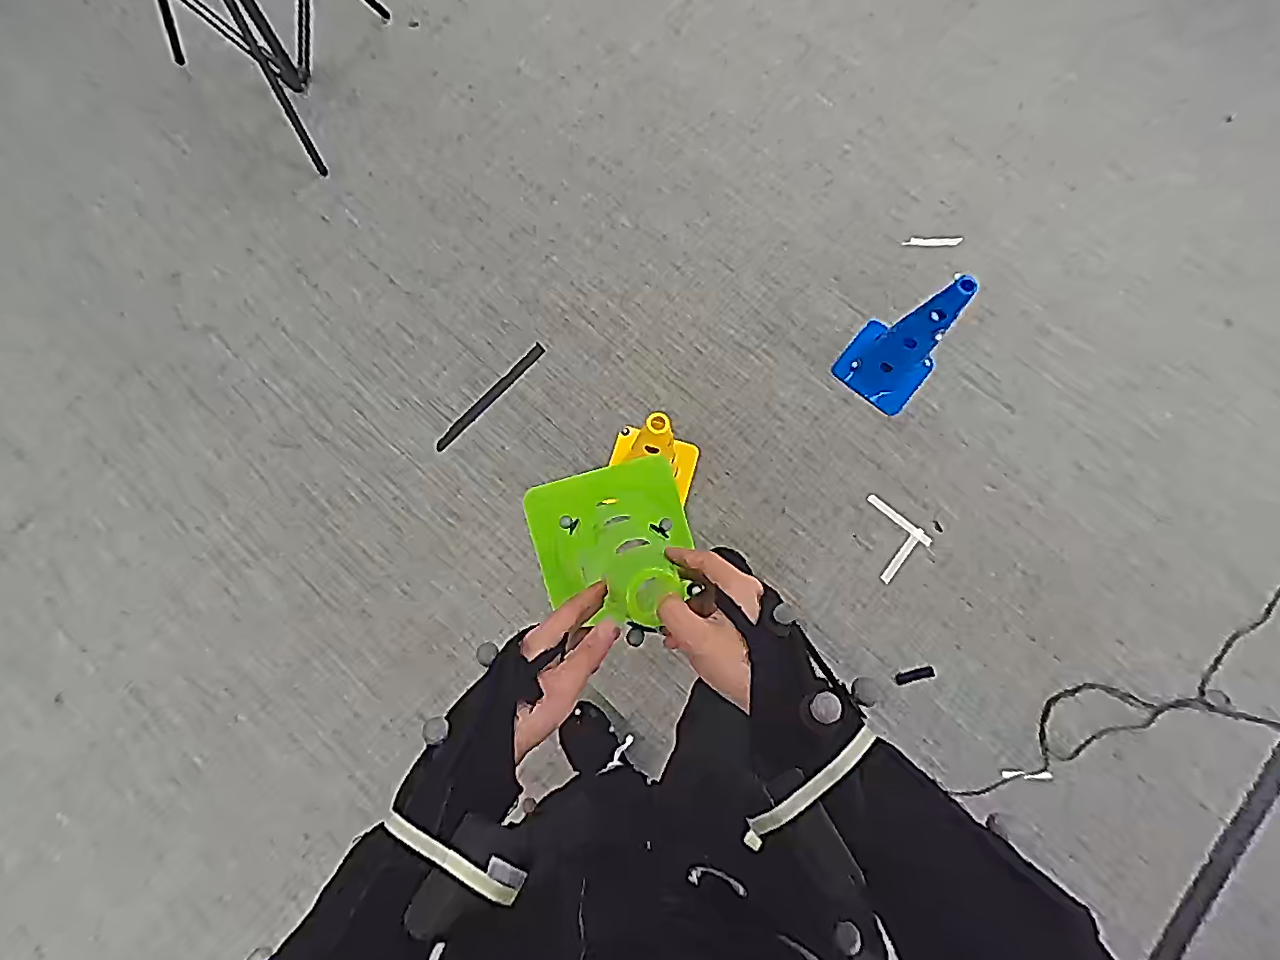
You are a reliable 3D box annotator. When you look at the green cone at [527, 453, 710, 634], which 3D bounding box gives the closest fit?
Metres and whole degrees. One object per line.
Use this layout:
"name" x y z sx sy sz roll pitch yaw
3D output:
"green cone" -0.006 0.075 0.527 0.202 0.368 0.200 -18 90 -6
